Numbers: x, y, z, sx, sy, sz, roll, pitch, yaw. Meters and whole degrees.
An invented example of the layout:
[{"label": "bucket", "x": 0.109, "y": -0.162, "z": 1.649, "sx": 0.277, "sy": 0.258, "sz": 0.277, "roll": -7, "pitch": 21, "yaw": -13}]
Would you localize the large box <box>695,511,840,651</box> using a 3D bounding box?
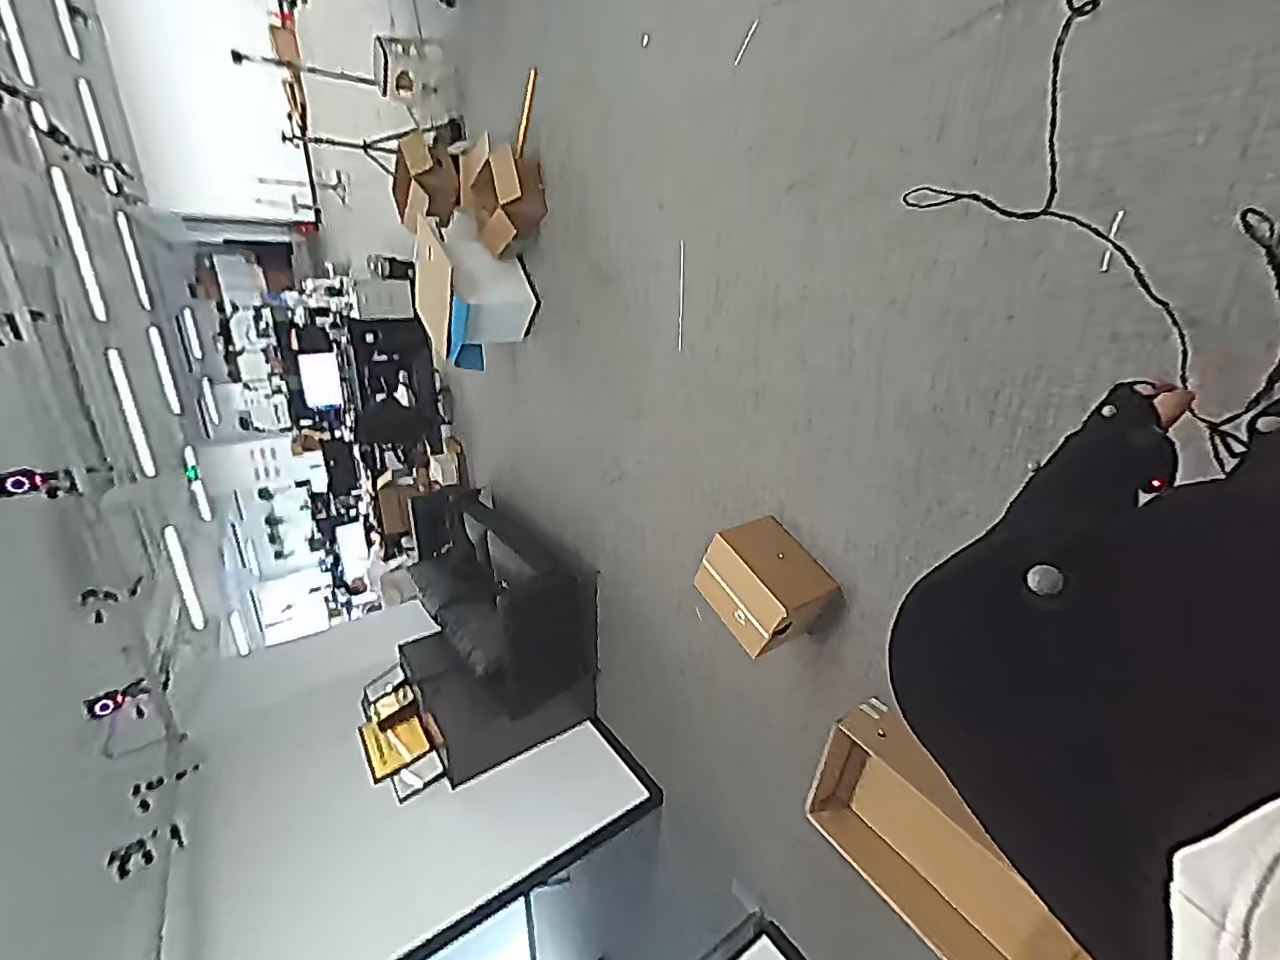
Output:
[{"label": "large box", "x": 0.495, "y": 0.387, "z": 2.155, "sx": 0.408, "sy": 0.320, "sz": 0.320, "roll": 49, "pitch": 139, "yaw": 33}]
